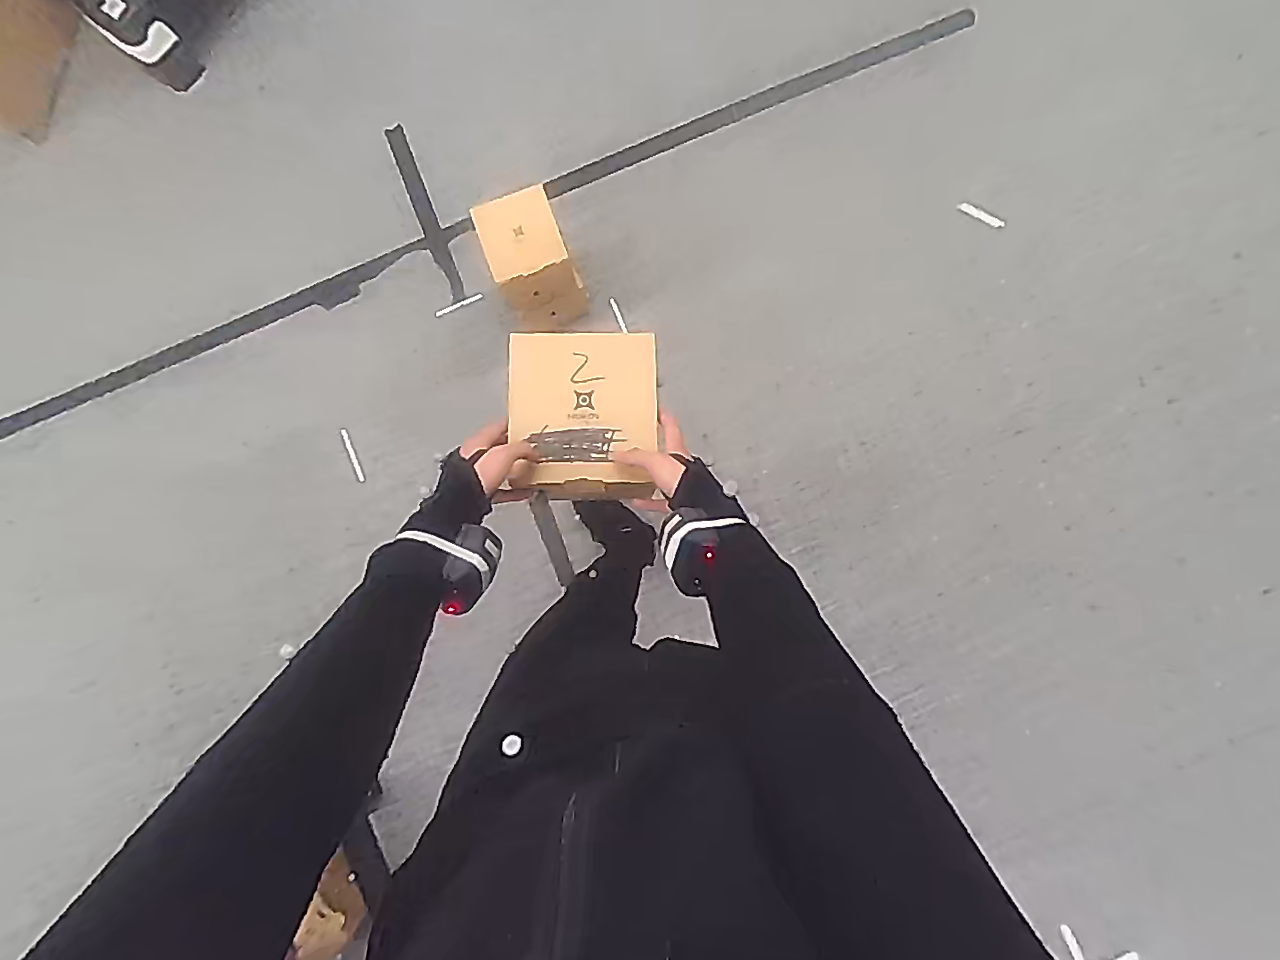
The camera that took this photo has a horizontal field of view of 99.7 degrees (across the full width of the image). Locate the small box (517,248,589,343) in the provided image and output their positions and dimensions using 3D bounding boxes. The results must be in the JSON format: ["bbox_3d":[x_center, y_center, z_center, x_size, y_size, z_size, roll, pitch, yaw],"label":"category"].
[{"bbox_3d":[-0.239,-0.477,1.385,0.179,0.176,0.168,-25,87,0],"label":"small box"}]

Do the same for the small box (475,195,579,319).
[{"bbox_3d":[-0.248,-0.495,1.223,0.168,0.176,0.179,-20,88,-1],"label":"small box"}]
